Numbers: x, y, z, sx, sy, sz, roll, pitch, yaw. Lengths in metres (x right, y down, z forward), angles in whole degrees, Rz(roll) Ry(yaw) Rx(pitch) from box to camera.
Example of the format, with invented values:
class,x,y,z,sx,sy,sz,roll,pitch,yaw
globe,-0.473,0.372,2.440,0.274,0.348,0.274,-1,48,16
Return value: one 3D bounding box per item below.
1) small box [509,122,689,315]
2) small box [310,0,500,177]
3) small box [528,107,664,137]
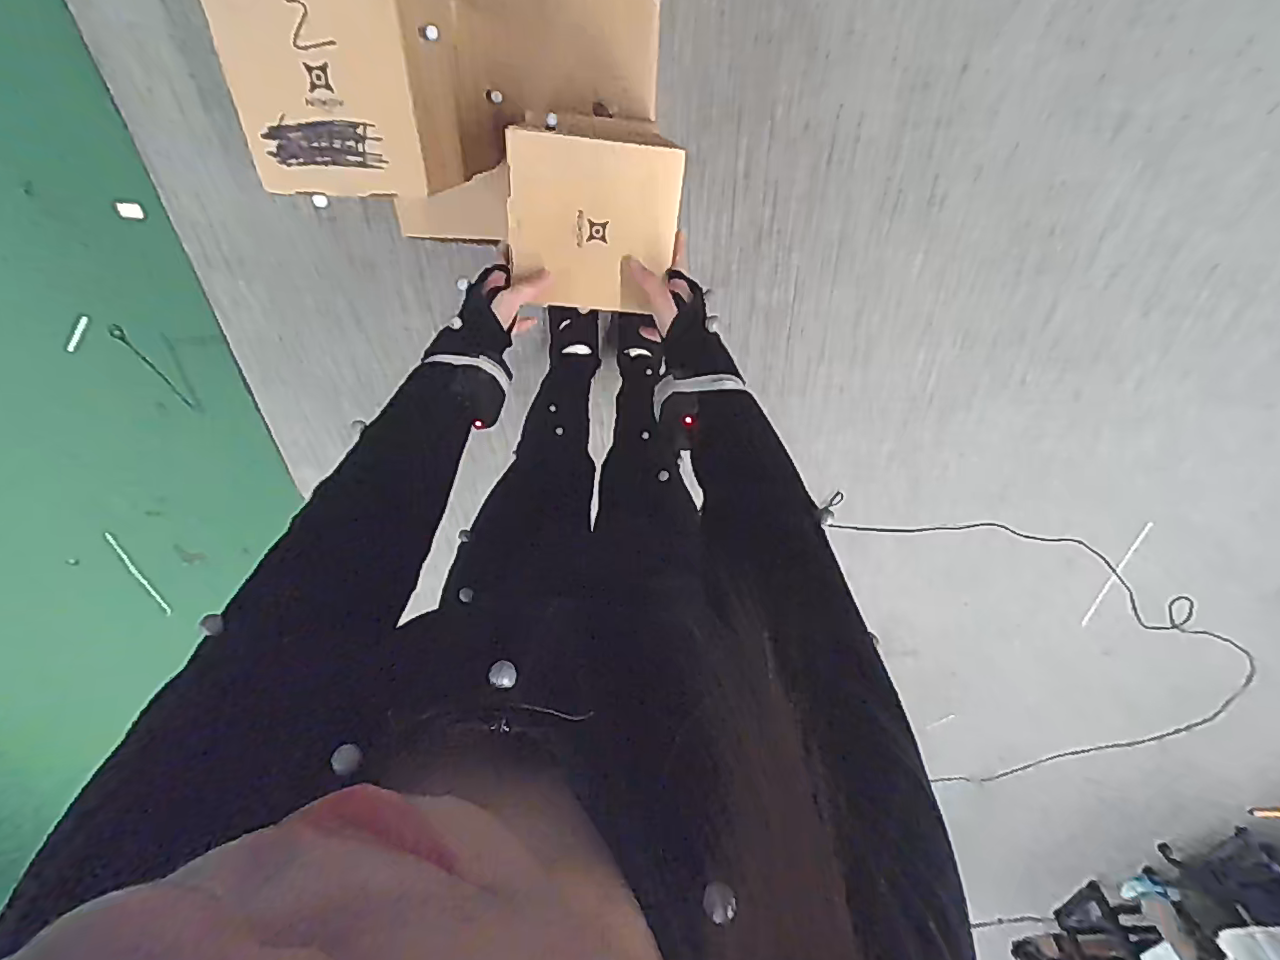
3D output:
class,x,y,z,sx,sy,sz,roll,pitch,yaw
small box,-0.048,-0.306,0.625,0.179,0.176,0.168,4,125,-4
small box,-0.280,-0.499,0.687,0.168,0.176,0.179,4,124,-2
small box,-0.060,-0.406,0.754,0.168,0.176,0.179,4,124,-4
